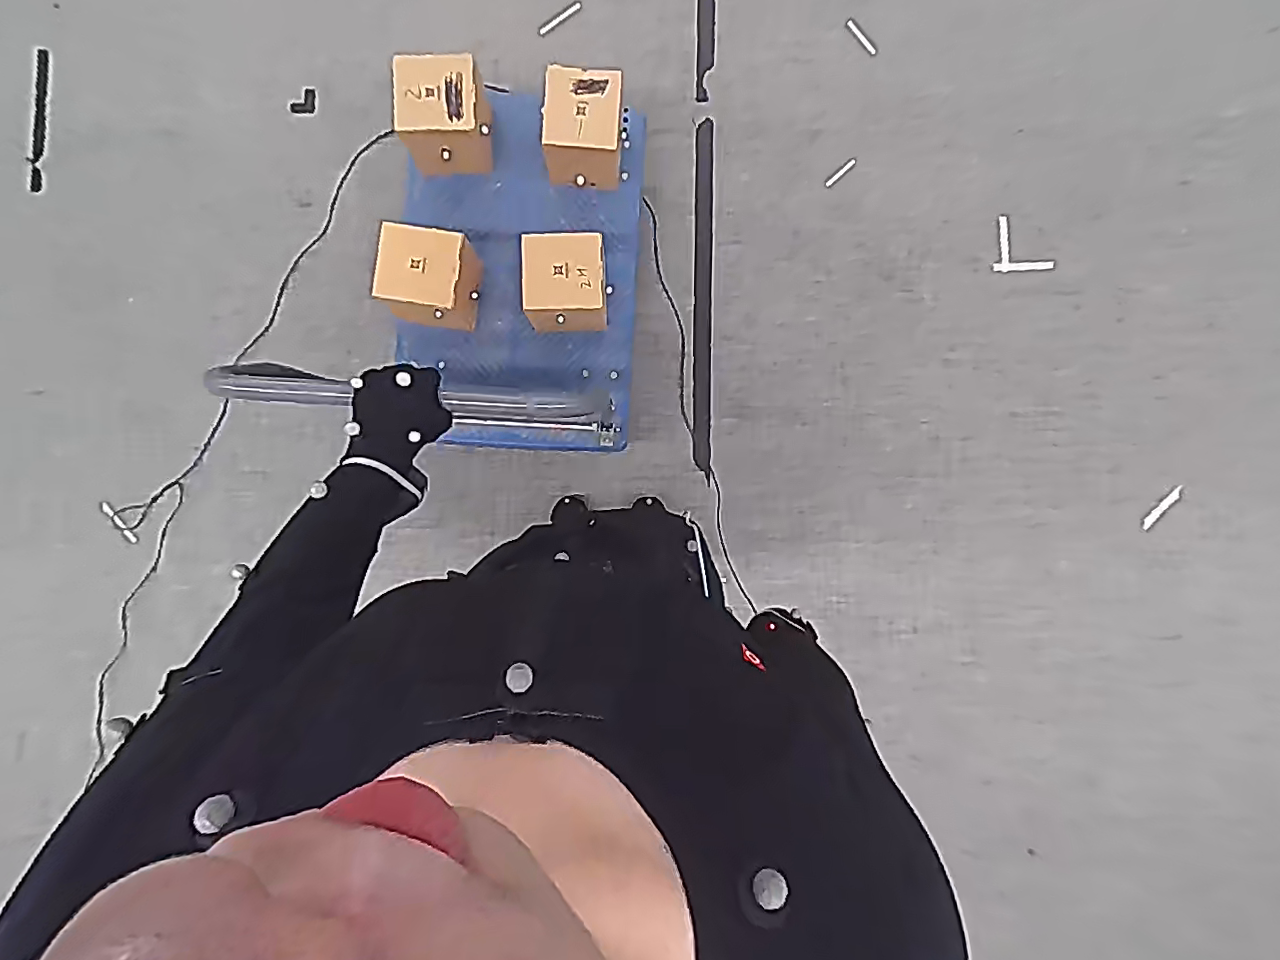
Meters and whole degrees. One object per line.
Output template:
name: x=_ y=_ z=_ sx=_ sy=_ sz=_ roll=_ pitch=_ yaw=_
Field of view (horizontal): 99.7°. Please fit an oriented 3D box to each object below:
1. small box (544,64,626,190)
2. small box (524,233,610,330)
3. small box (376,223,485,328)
small box: x=-0.122 y=-0.807 z=1.249 sx=0.168 sy=0.176 sz=0.179 roll=4 pitch=90 yaw=-1
small box: x=-0.163 y=-0.448 z=1.243 sx=0.179 sy=0.176 sz=0.168 roll=-1 pitch=89 yaw=-1
small box: x=-0.472 y=-0.460 z=1.238 sx=0.179 sy=0.176 sz=0.168 roll=7 pitch=89 yaw=-2
